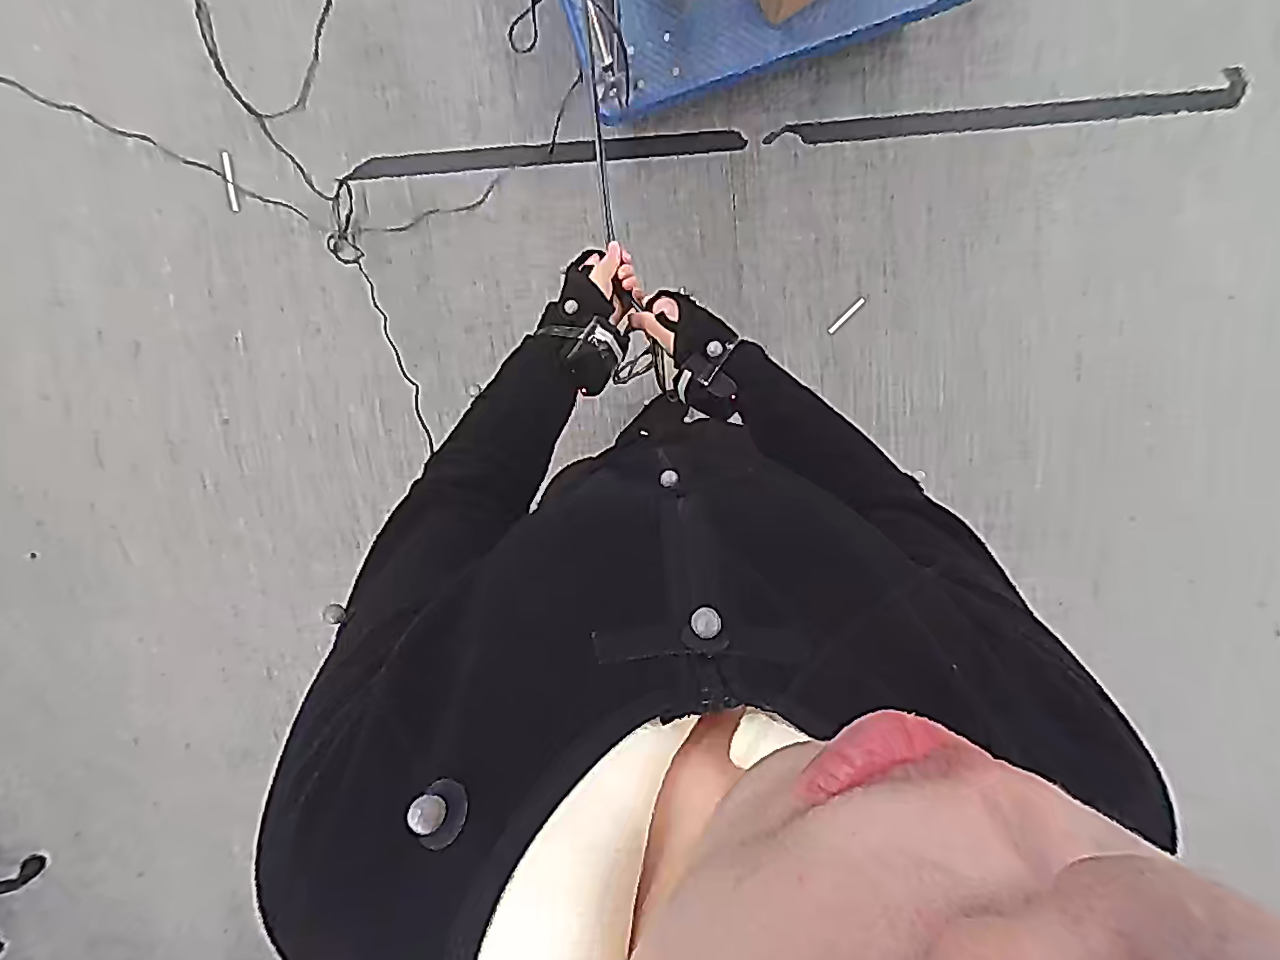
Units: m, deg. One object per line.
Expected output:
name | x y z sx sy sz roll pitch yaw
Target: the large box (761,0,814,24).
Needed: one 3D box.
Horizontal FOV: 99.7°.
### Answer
large box | 0.308 -1.179 0.961 0.320 0.320 0.408 -31 99 6
